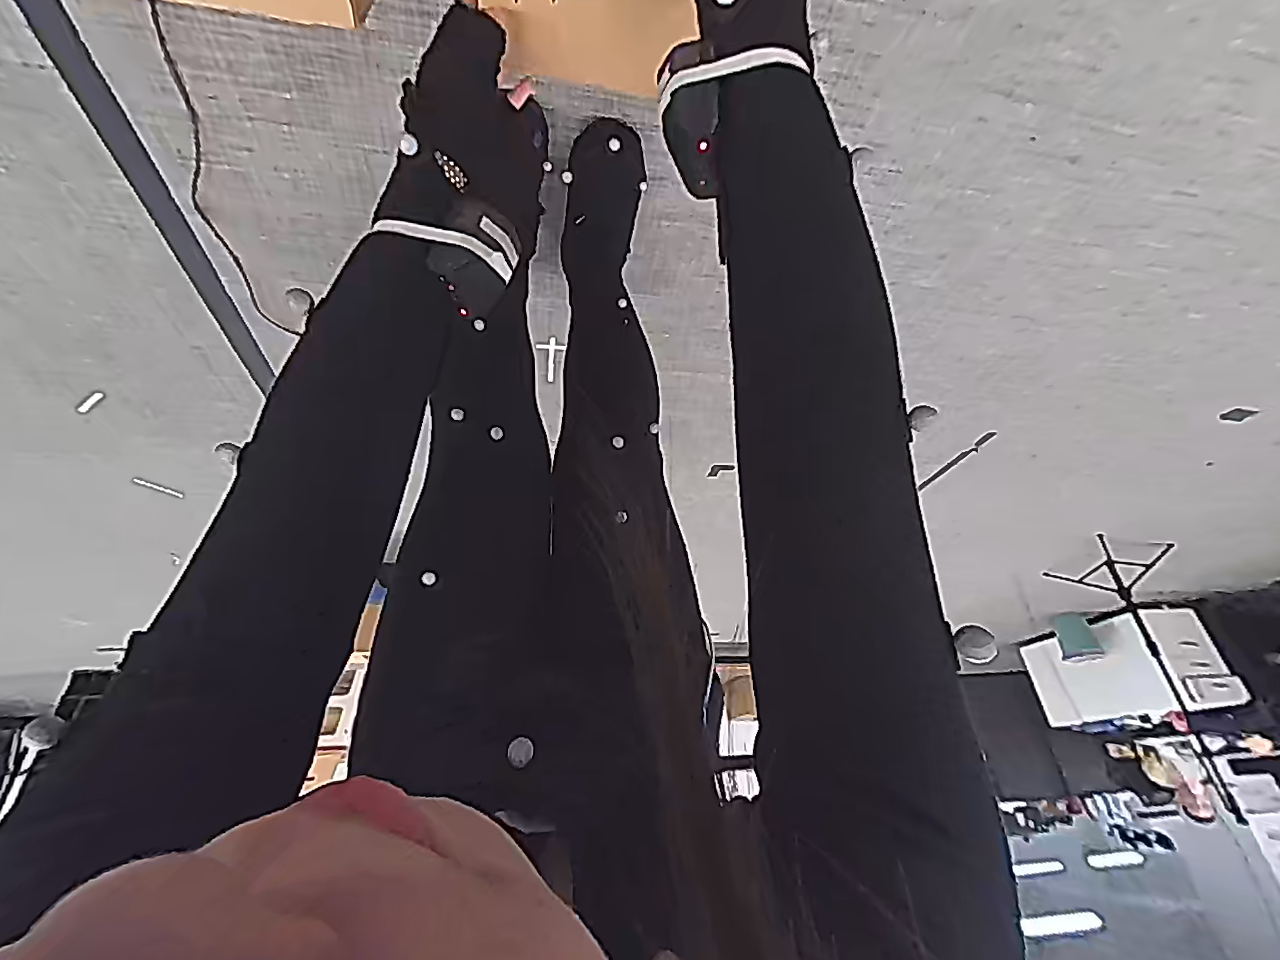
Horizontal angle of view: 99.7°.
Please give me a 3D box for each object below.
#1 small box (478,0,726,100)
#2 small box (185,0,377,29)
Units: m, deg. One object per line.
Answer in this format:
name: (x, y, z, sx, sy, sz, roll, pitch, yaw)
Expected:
small box: (-0.024, -0.428, 0.396, 0.179, 0.176, 0.168, 2, 154, -13)
small box: (-0.273, -0.441, 0.351, 0.179, 0.176, 0.168, 2, 149, -10)
